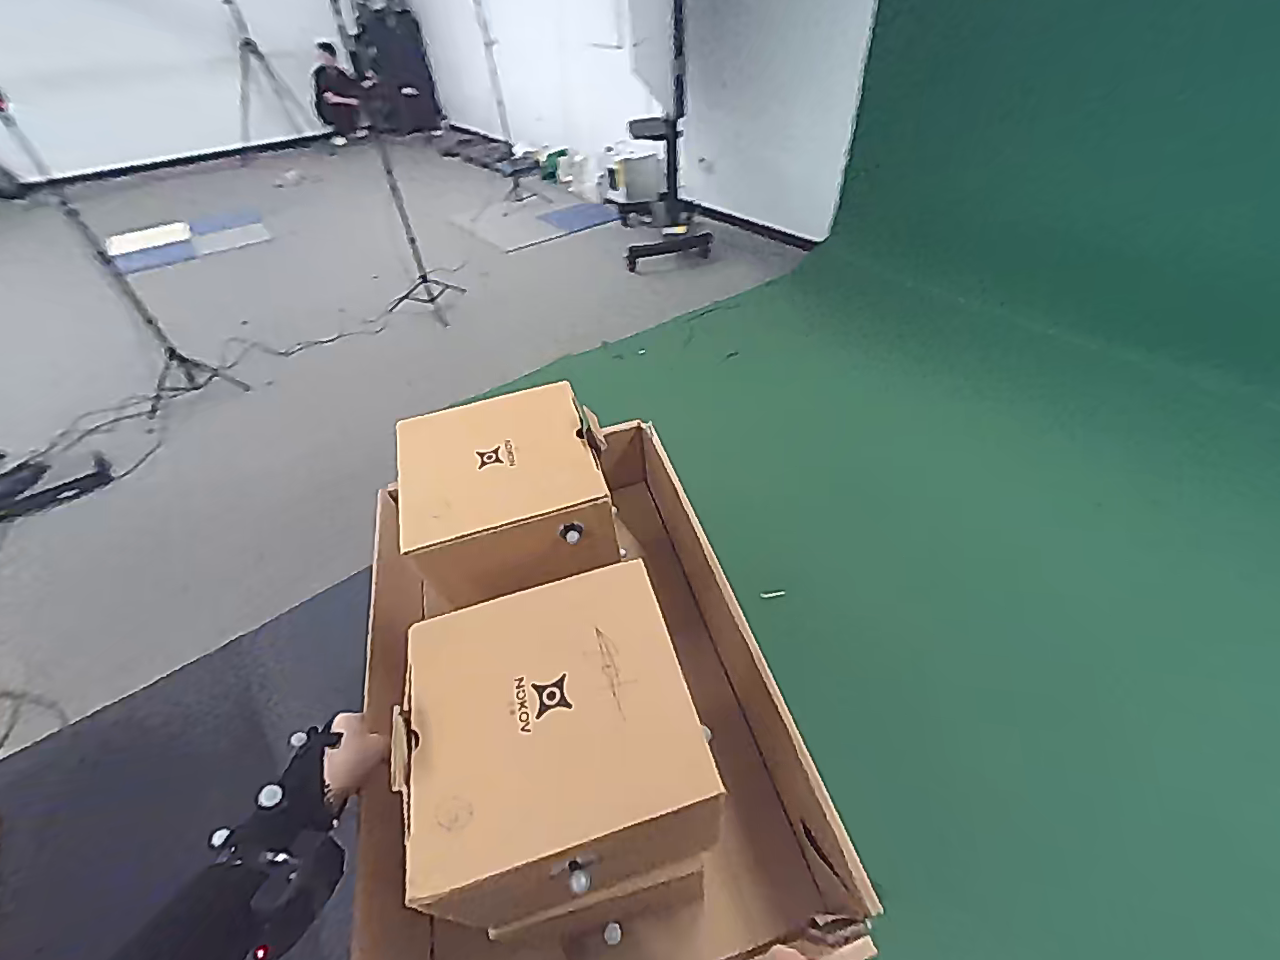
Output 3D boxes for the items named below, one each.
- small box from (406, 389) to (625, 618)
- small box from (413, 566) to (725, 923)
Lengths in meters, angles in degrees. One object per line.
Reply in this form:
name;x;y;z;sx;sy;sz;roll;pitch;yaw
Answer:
small box;-0.119;0.038;0.554;0.179;0.176;0.168;-15;49;-9
small box;-0.048;0.196;0.399;0.179;0.176;0.168;-15;48;-8
